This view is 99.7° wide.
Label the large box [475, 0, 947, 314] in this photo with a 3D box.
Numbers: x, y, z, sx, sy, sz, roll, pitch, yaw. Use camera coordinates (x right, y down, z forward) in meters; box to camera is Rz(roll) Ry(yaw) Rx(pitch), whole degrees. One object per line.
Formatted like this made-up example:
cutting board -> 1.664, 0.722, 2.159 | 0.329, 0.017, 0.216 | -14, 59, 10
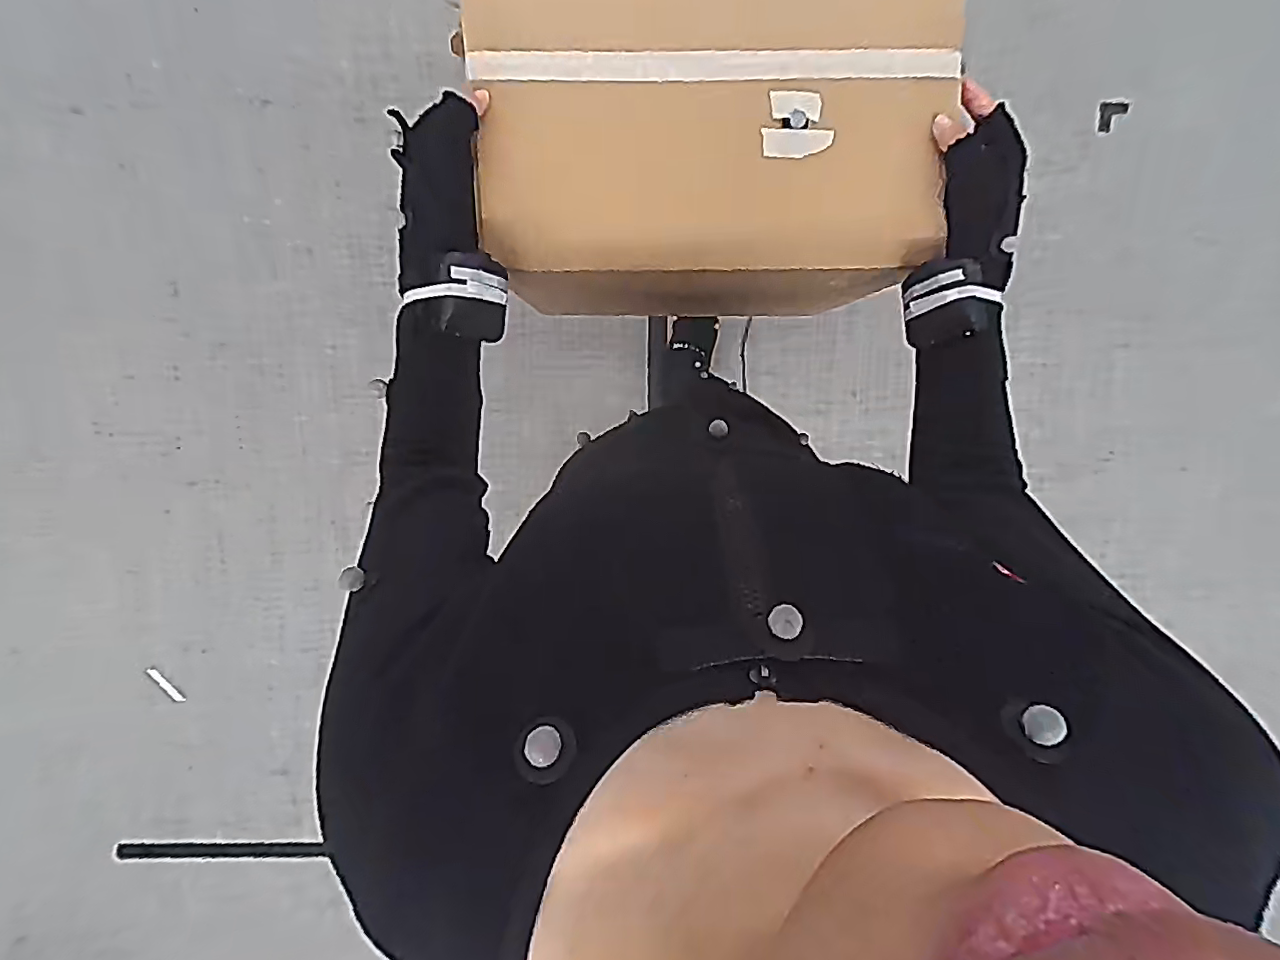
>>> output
large box -> 0.056, -0.372, 0.608 | 0.408, 0.320, 0.320 | -1, 100, -2
